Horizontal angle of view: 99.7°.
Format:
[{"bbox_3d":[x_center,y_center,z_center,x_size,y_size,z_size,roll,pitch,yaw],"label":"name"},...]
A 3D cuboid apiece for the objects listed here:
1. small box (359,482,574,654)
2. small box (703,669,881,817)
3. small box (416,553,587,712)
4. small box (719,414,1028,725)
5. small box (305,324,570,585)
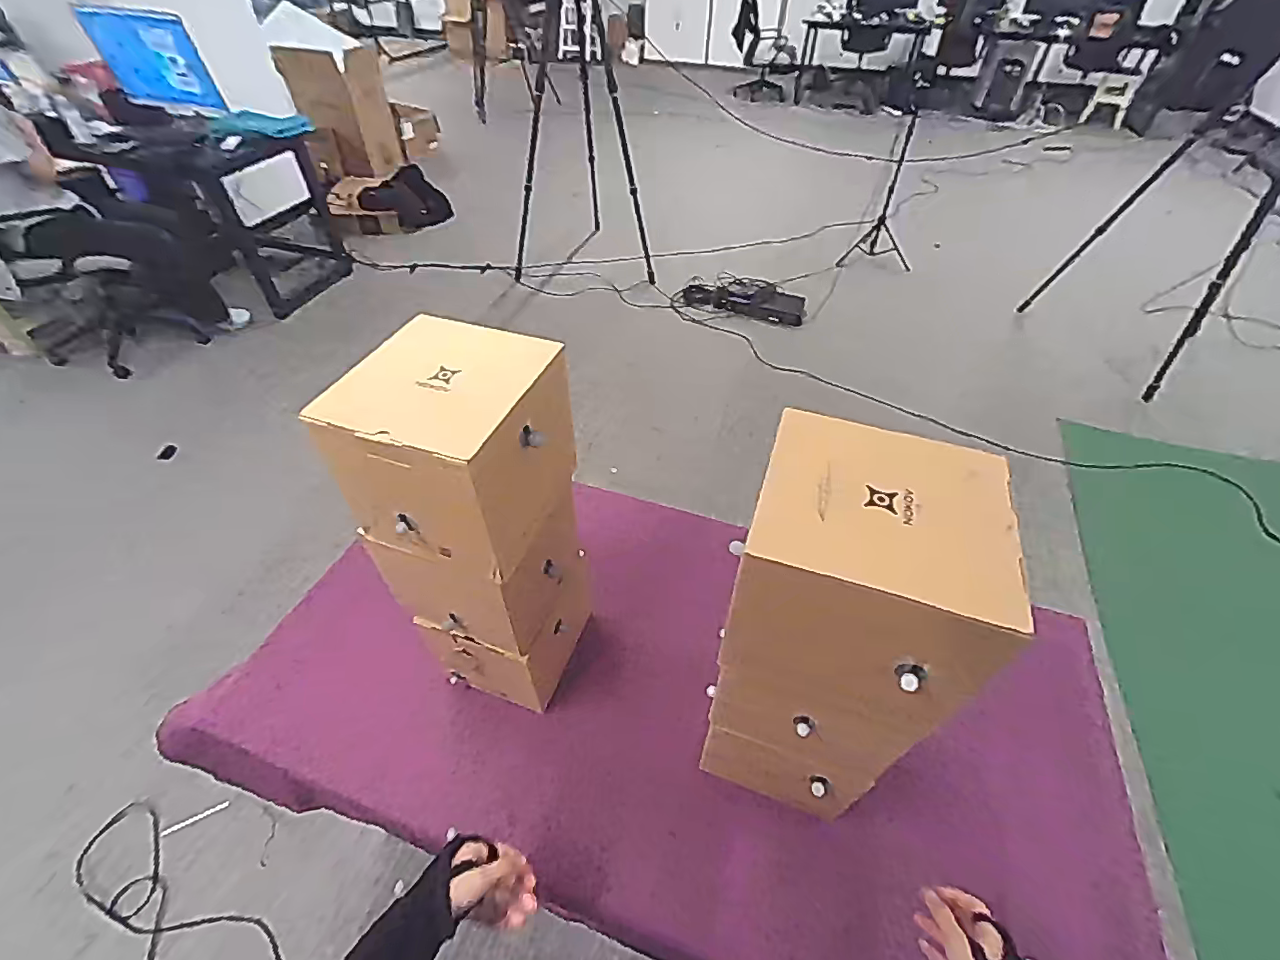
[{"bbox_3d":[-0.191,0.087,0.660,0.179,0.176,0.168,16,47,13],"label":"small box"},{"bbox_3d":[0.190,0.299,0.687,0.179,0.176,0.168,15,47,14],"label":"small box"},{"bbox_3d":[-0.181,0.203,0.777,0.168,0.176,0.179,15,47,13],"label":"small box"},{"bbox_3d":[0.175,0.076,0.446,0.179,0.176,0.168,15,47,14],"label":"small box"},{"bbox_3d":[-0.178,-0.027,0.544,0.168,0.176,0.179,14,48,13],"label":"small box"}]
